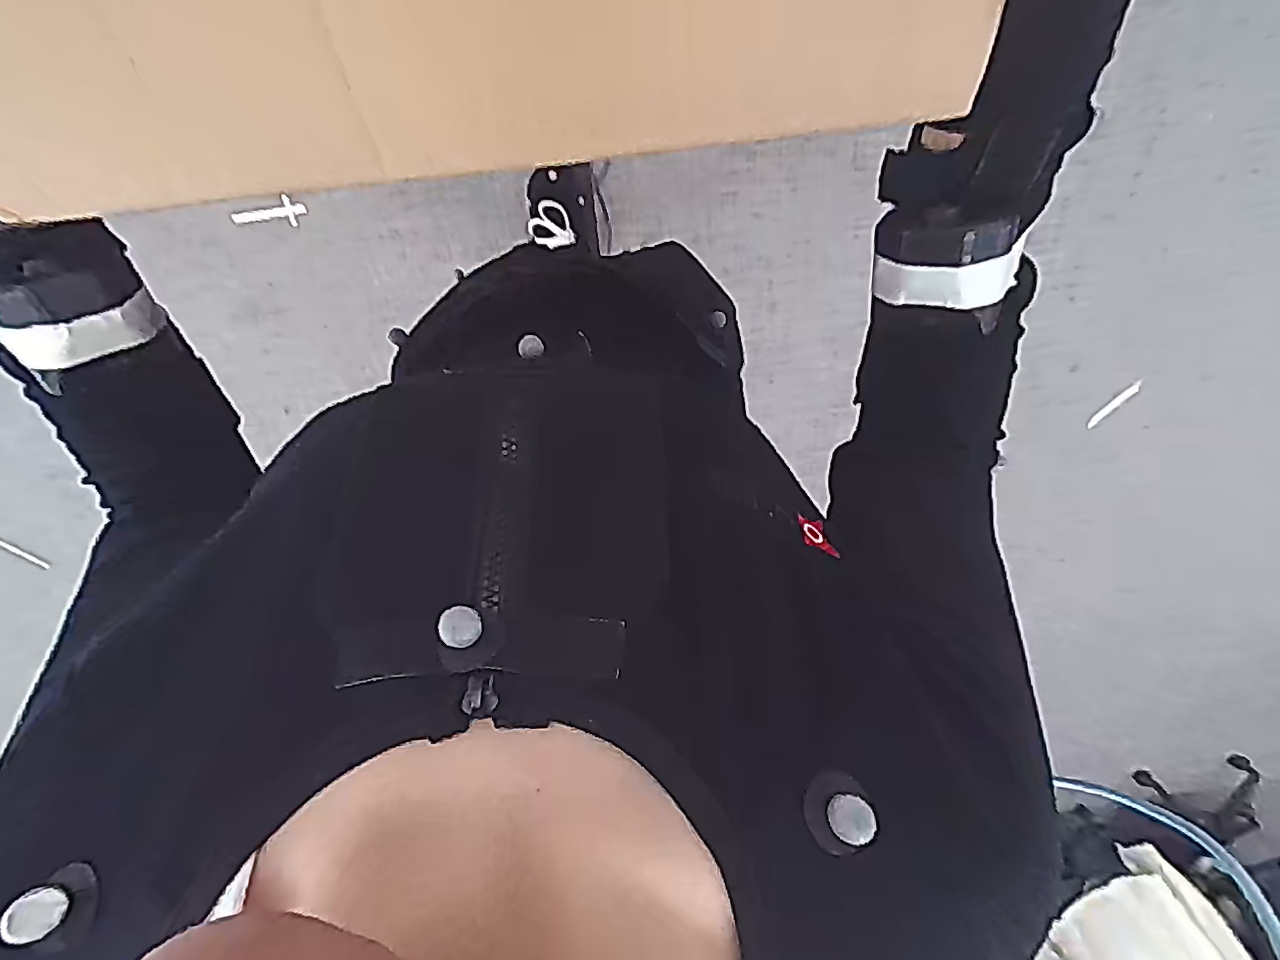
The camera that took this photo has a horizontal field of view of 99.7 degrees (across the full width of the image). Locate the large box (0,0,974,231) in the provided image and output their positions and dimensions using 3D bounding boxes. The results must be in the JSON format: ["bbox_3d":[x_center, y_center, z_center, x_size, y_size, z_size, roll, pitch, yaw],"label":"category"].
[{"bbox_3d":[-0.090,-0.345,0.224,0.408,0.320,0.320,-6,136,1],"label":"large box"}]
